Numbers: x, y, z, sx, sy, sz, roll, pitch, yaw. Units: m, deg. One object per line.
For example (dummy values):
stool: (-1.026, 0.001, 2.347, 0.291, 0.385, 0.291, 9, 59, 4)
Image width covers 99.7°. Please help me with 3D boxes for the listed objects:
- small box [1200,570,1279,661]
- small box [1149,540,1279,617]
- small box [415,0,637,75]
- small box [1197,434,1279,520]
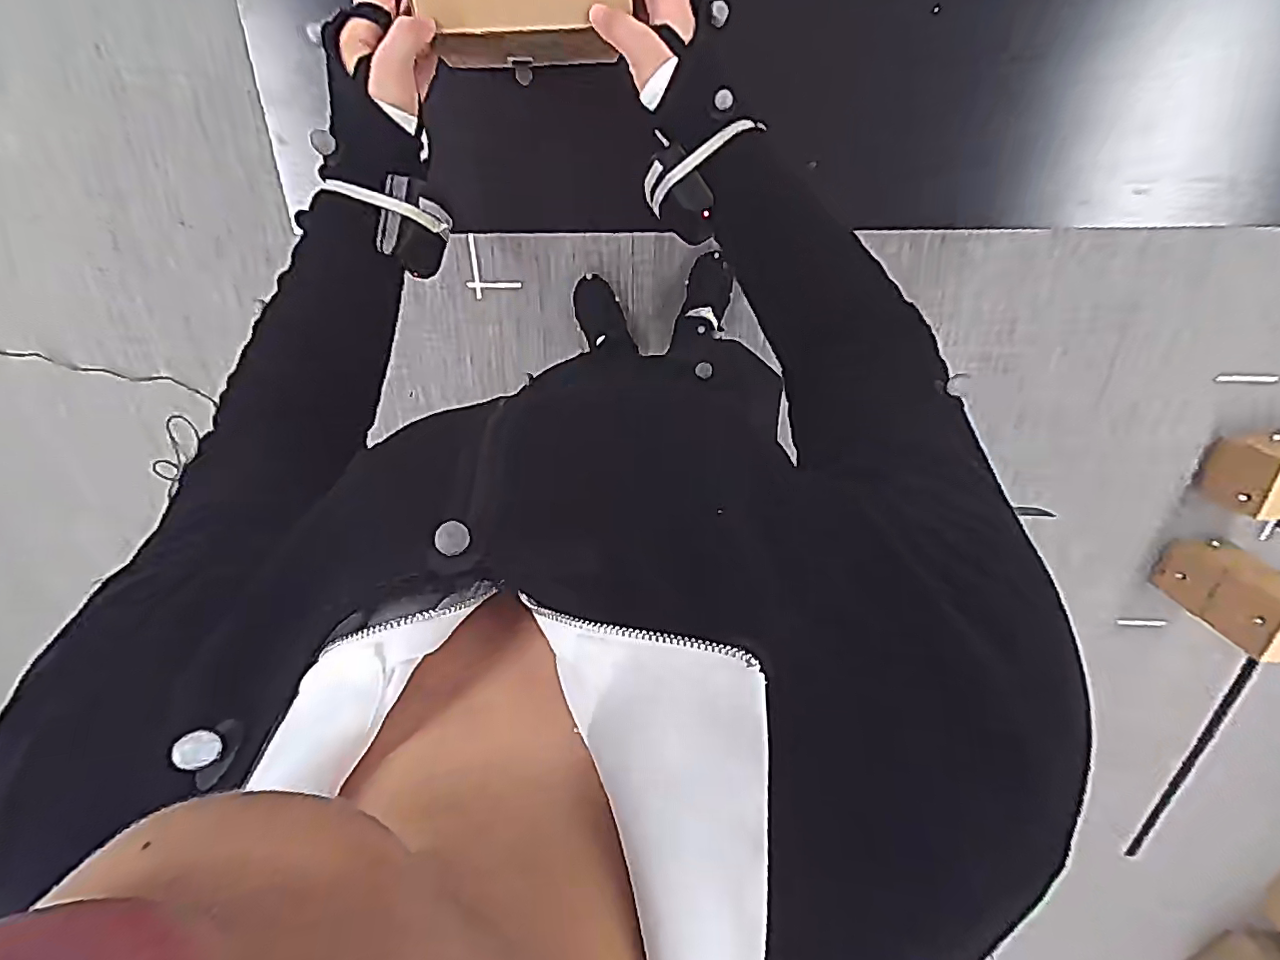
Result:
small box: (1.656, 0.354, 1.424, 0.168, 0.176, 0.179, 1, 117, 1)
small box: (1.659, 0.286, 1.576, 0.179, 0.176, 0.168, 2, 116, 1)
small box: (-0.096, -0.452, 0.436, 0.168, 0.176, 0.179, -6, 121, -3)
small box: (1.653, -0.010, 1.432, 0.168, 0.176, 0.179, -2, 115, 2)
